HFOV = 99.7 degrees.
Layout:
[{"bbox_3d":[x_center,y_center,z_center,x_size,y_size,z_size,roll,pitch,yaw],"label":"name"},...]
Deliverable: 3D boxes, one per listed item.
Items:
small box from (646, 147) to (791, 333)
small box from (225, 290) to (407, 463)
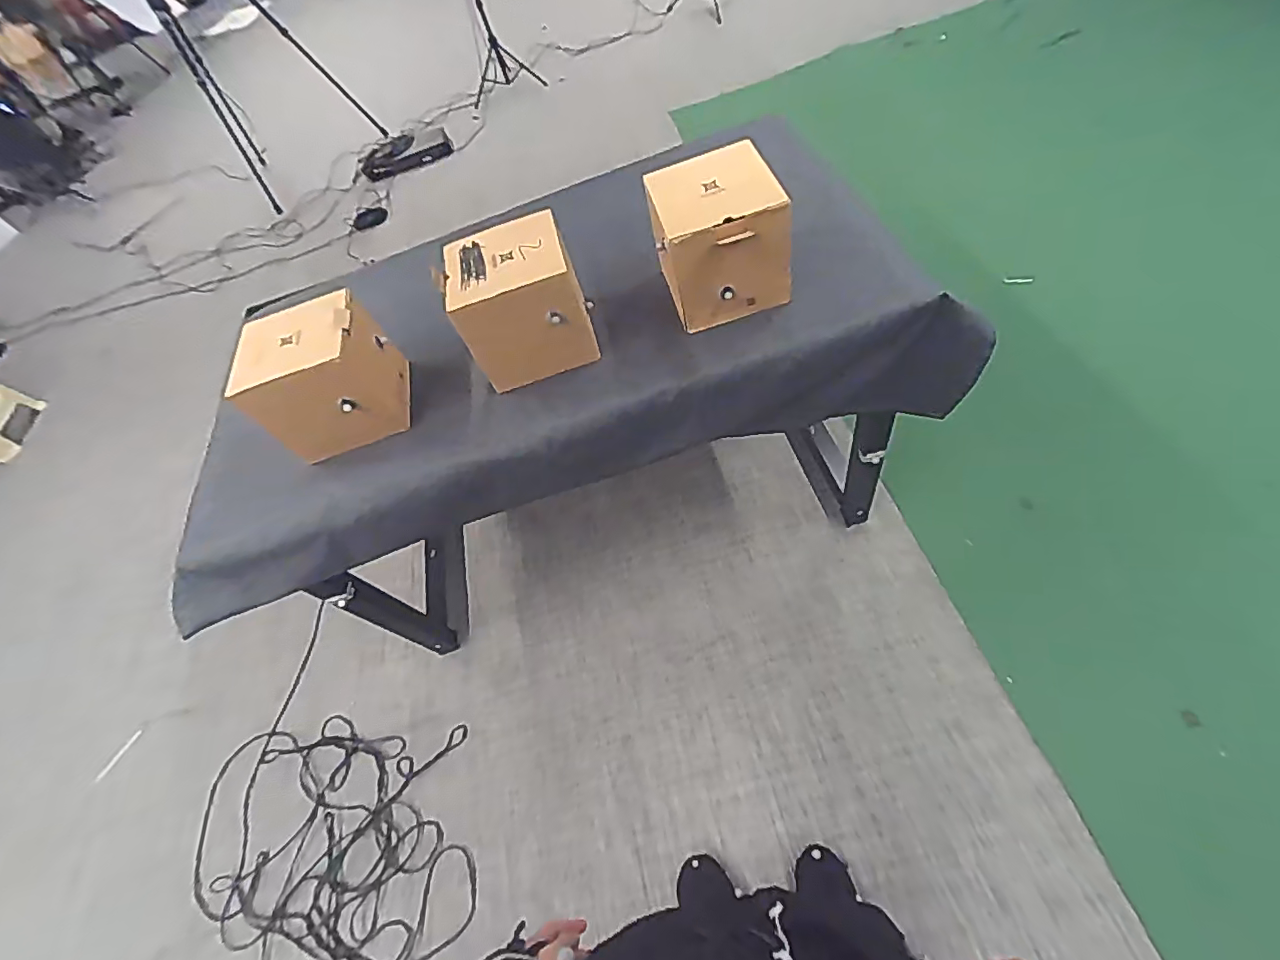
[{"bbox_3d":[0.116,-0.356,0.817,0.168,0.176,0.179,-17,56,3],"label":"small box"},{"bbox_3d":[-0.484,-0.155,0.840,0.179,0.176,0.168,-20,54,2],"label":"small box"}]
